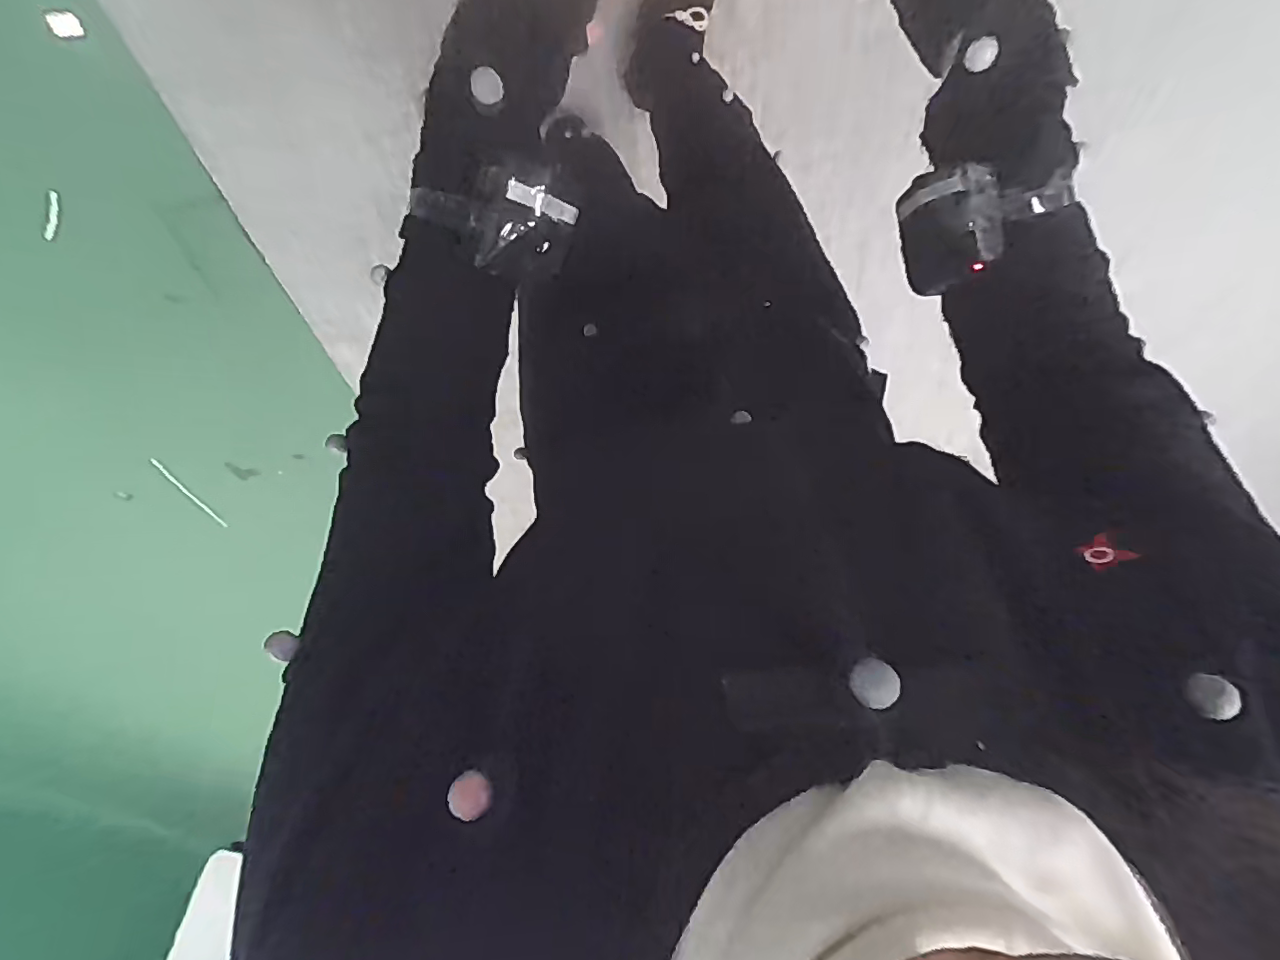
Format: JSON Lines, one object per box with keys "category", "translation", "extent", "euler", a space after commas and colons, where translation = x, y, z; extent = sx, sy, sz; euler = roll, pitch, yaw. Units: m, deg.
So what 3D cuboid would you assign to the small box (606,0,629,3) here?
{"category": "small box", "translation": [0.028, -0.421, 0.324], "extent": [0.168, 0.176, 0.179], "euler": [-11, 121, 0]}
